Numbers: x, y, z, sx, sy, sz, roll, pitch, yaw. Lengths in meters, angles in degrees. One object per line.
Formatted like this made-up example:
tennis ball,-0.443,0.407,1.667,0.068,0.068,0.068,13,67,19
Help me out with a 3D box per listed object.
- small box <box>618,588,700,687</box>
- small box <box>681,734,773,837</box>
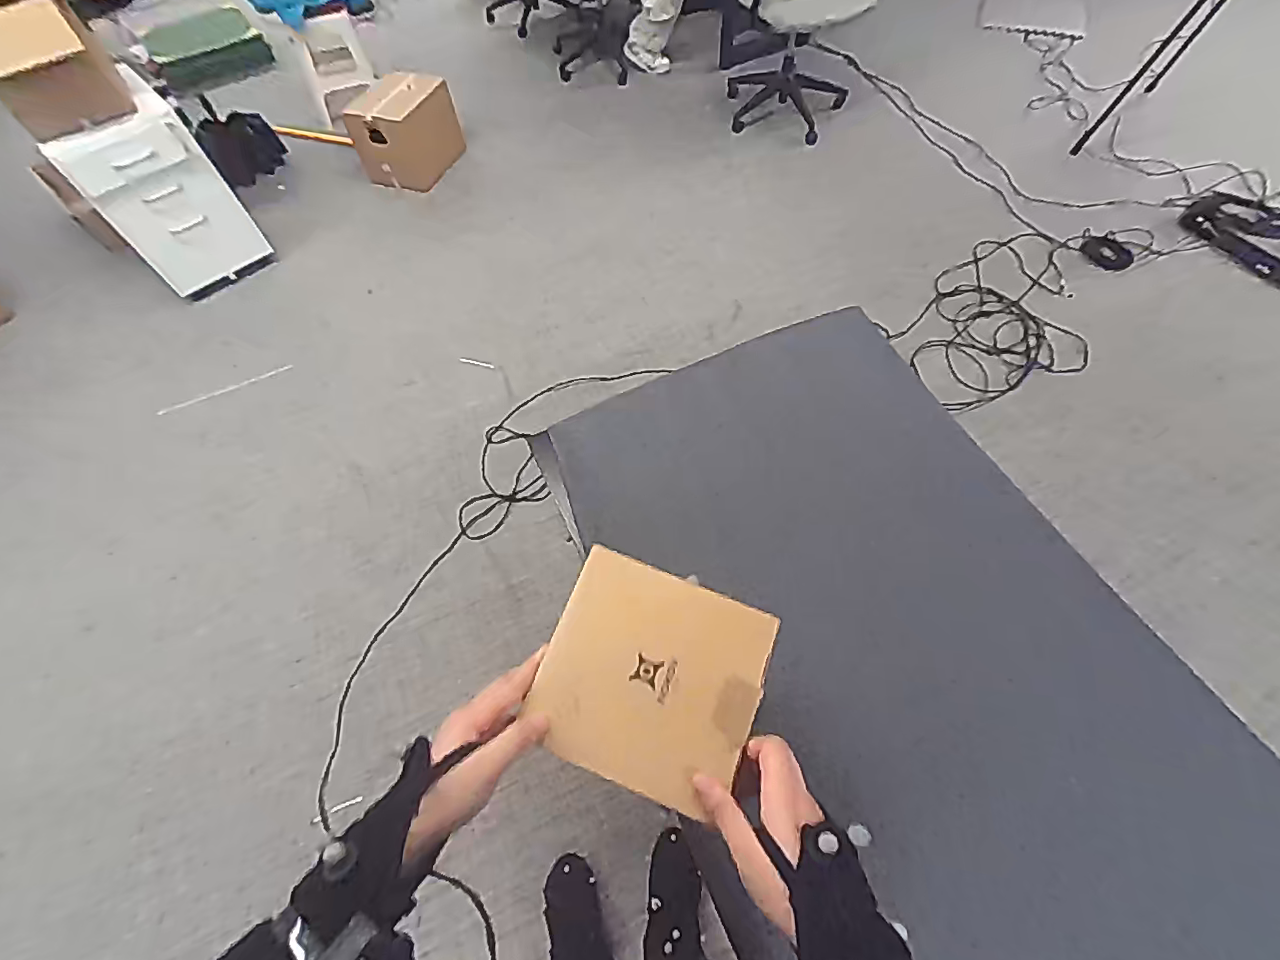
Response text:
small box,0.044,0.397,1.351,0.168,0.176,0.179,-13,58,-4
small box,0.181,0.666,1.180,0.168,0.176,0.179,-6,57,-1
